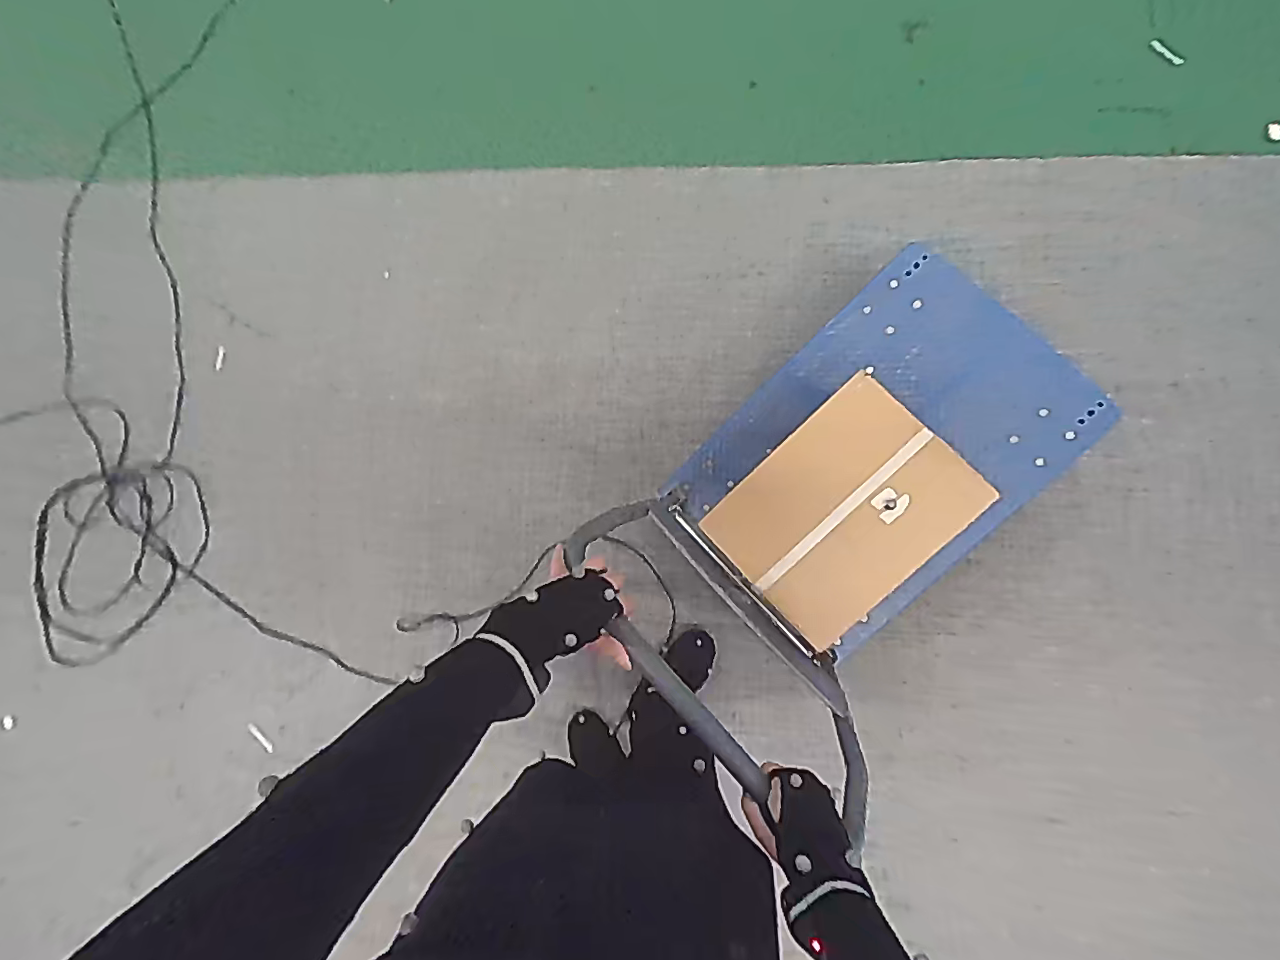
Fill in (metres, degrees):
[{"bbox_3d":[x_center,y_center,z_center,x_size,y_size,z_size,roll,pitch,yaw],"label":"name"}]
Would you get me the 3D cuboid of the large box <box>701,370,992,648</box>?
[{"bbox_3d":[0.379,0.060,1.093,0.408,0.320,0.320,-45,80,6],"label":"large box"}]
